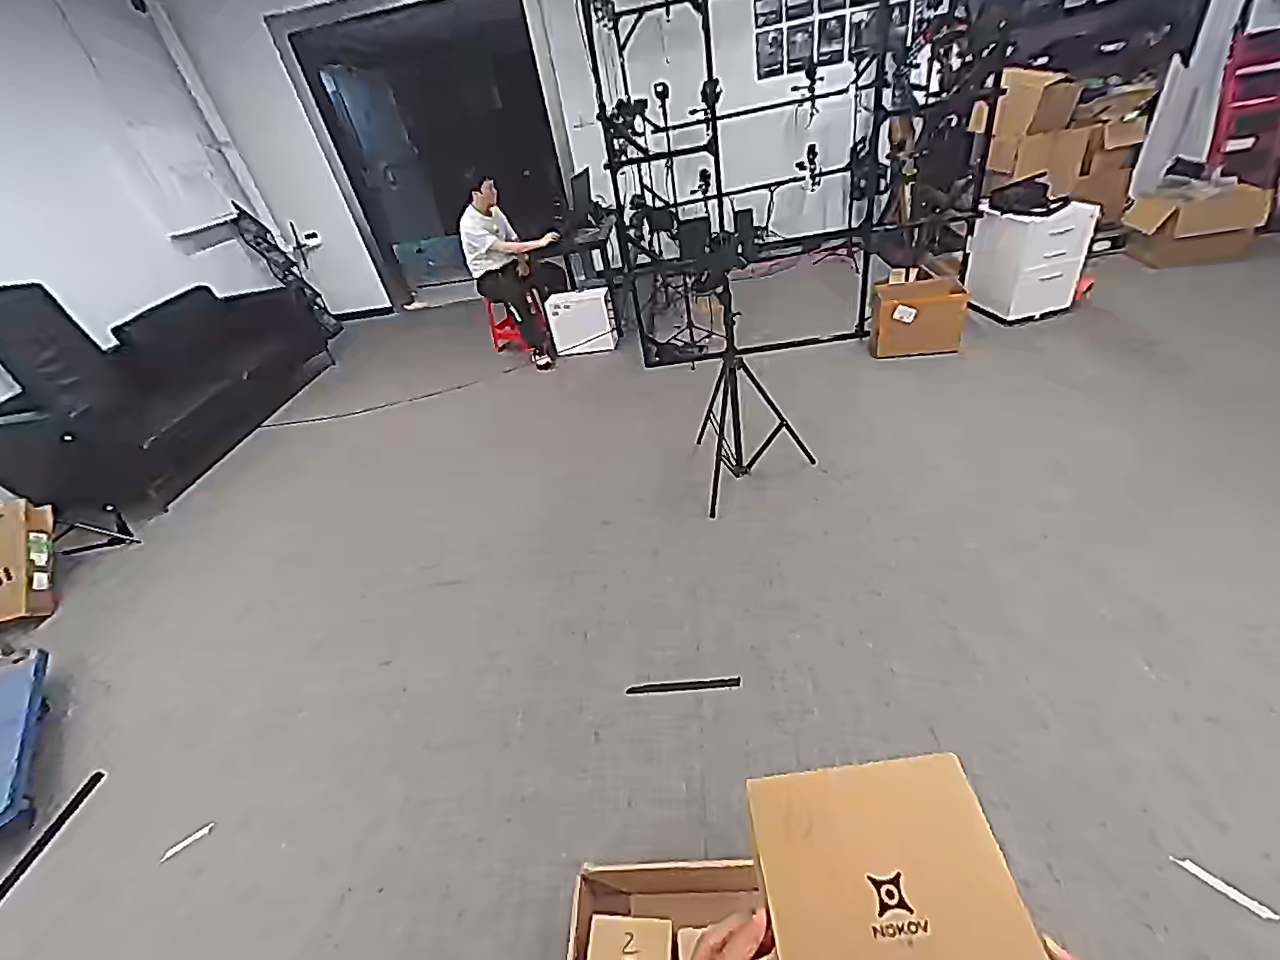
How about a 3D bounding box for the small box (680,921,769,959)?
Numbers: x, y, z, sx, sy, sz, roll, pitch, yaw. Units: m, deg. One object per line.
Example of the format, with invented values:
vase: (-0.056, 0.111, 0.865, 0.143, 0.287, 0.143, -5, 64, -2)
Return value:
small box: (0.174, 0.985, 1.038, 0.168, 0.176, 0.179, -9, 36, 4)
